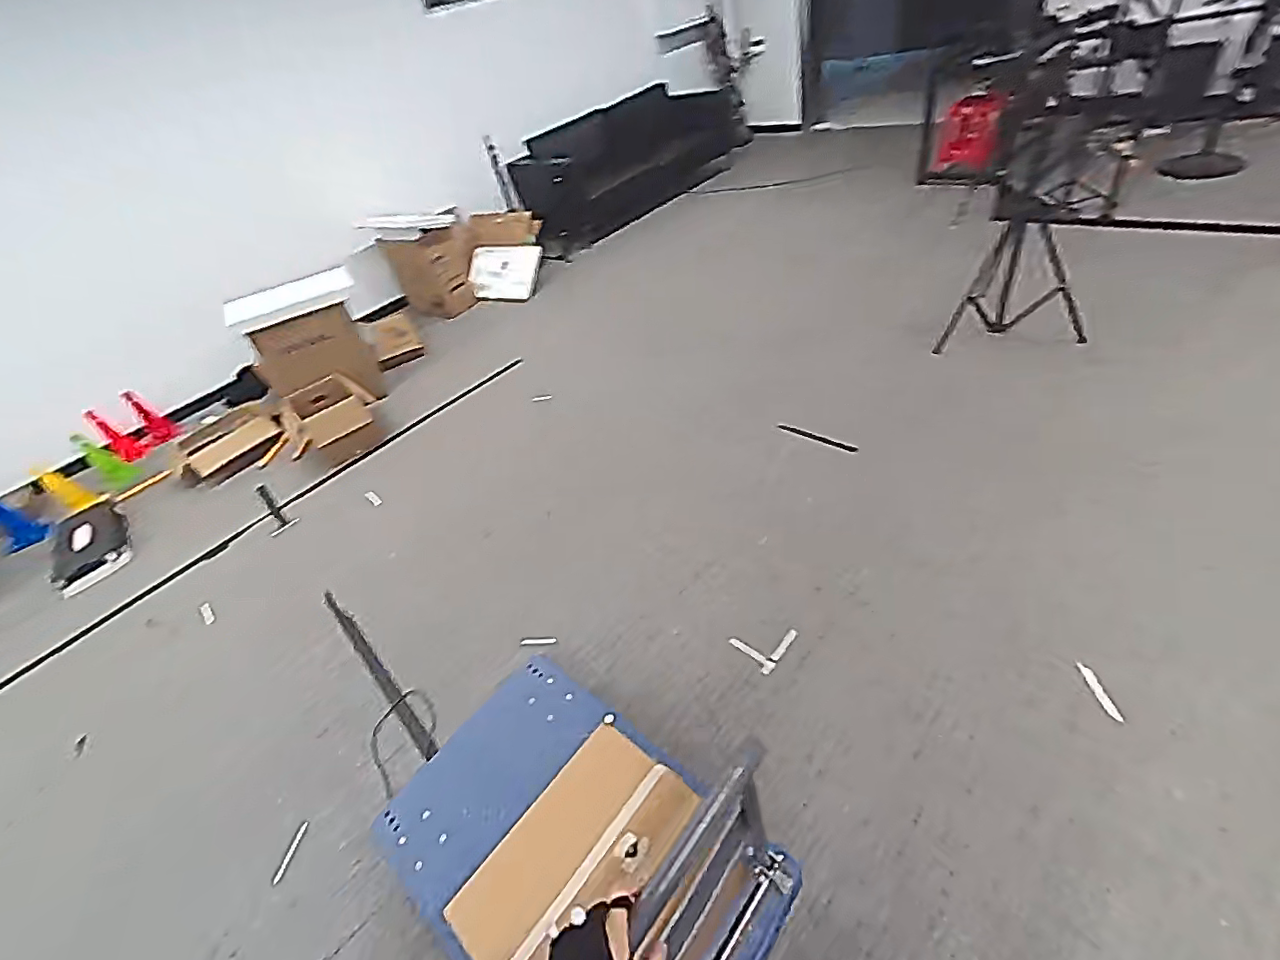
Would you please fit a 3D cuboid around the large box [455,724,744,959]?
[{"bbox_3d":[-0.050,0.772,1.012,0.320,0.320,0.408,24,53,37],"label":"large box"}]
